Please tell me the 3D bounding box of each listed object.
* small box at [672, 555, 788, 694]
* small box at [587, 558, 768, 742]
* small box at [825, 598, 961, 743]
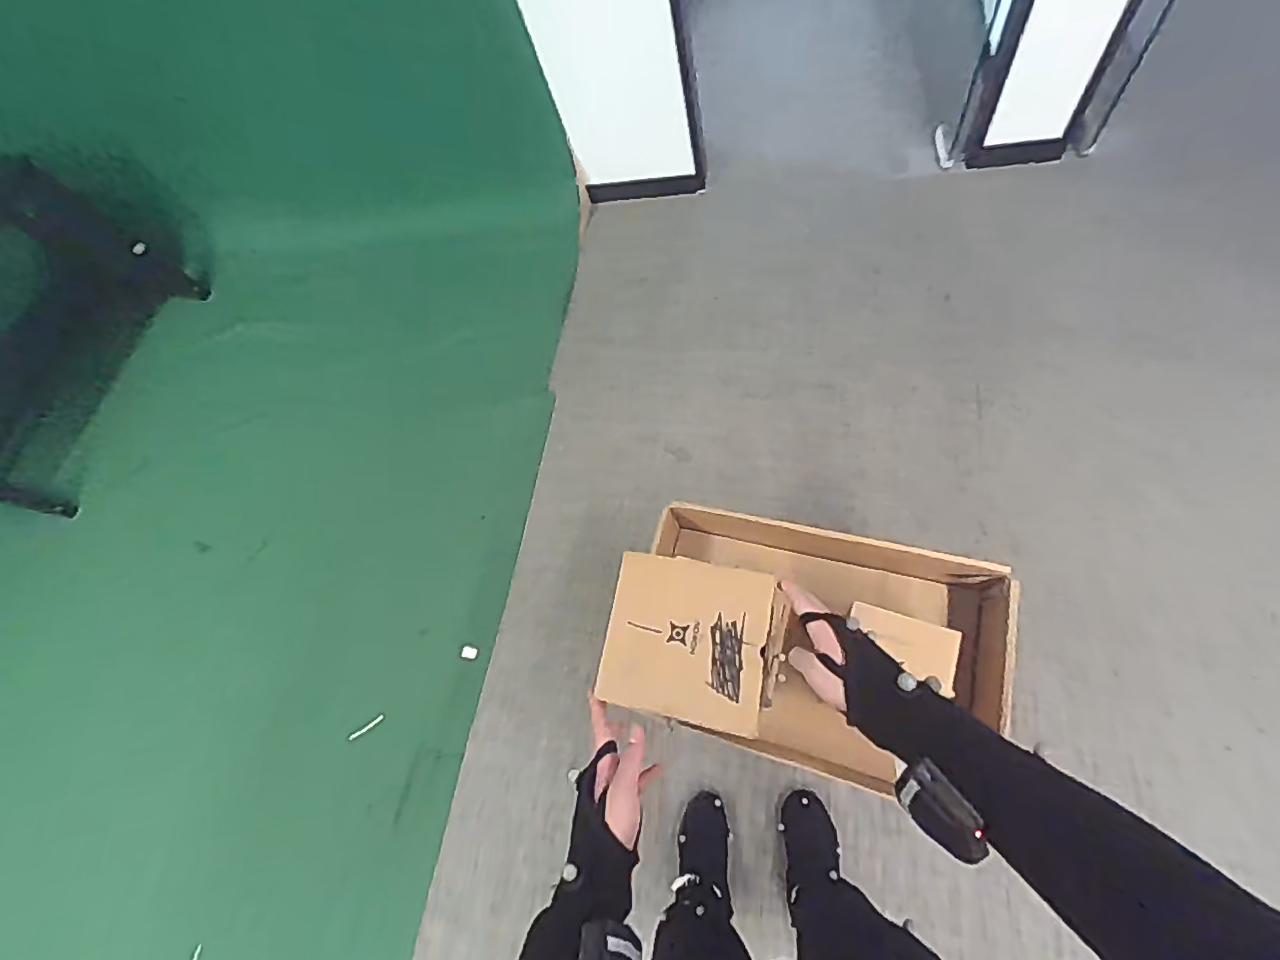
[{"bbox_3d":[0.131,0.235,0.862,0.179,0.176,0.168,12,72,19],"label":"small box"},{"bbox_3d":[0.058,0.202,0.660,0.179,0.176,0.168,7,72,16],"label":"small box"},{"bbox_3d":[0.421,0.322,0.925,0.168,0.176,0.179,15,74,20],"label":"small box"}]
